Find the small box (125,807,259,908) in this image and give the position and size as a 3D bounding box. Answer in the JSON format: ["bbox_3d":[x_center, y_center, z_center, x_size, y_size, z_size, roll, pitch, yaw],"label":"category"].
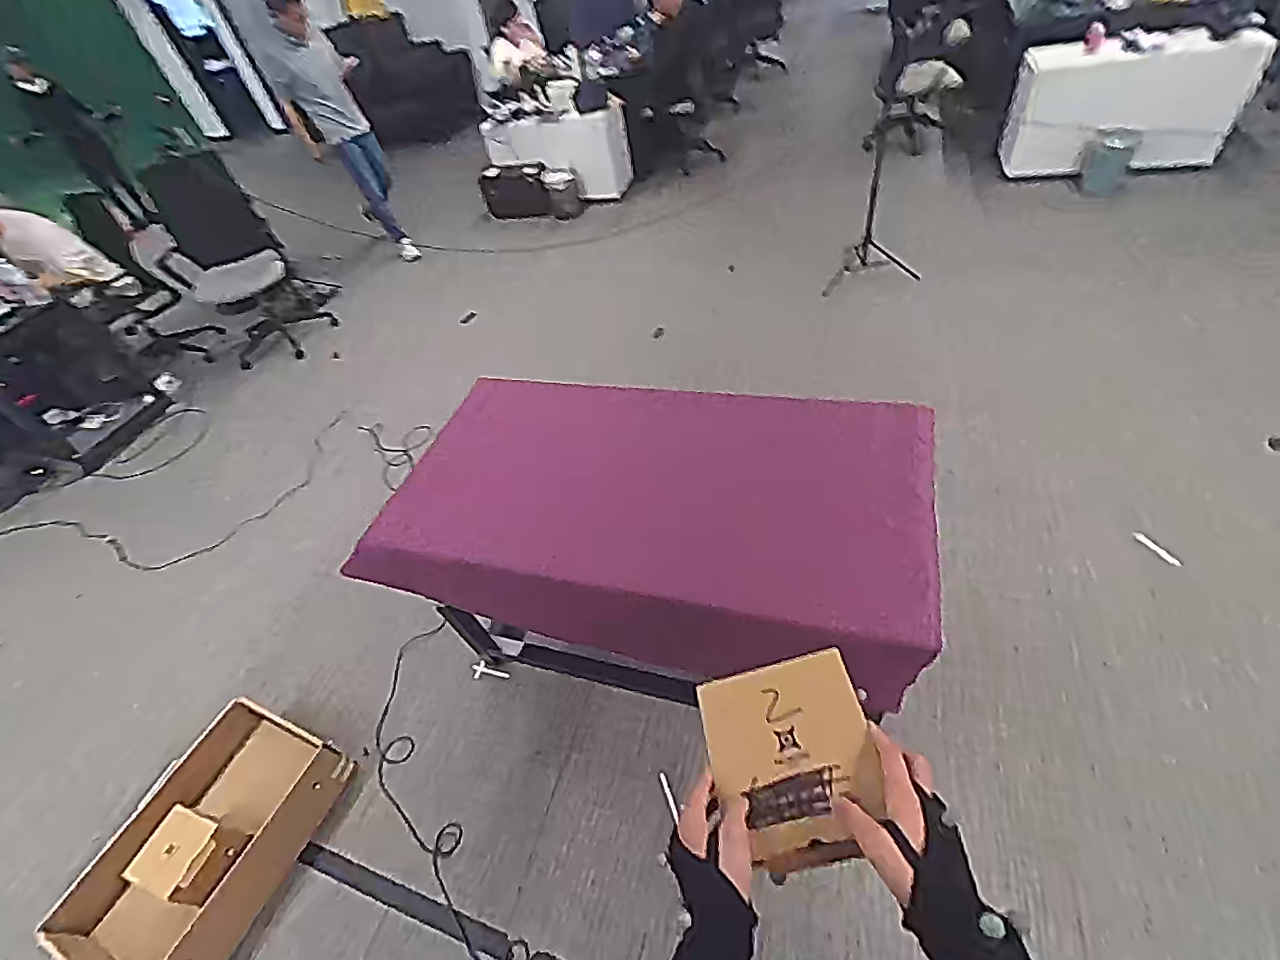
[{"bbox_3d":[-1.163,0.995,1.421,0.179,0.176,0.168,7,49,19],"label":"small box"}]
